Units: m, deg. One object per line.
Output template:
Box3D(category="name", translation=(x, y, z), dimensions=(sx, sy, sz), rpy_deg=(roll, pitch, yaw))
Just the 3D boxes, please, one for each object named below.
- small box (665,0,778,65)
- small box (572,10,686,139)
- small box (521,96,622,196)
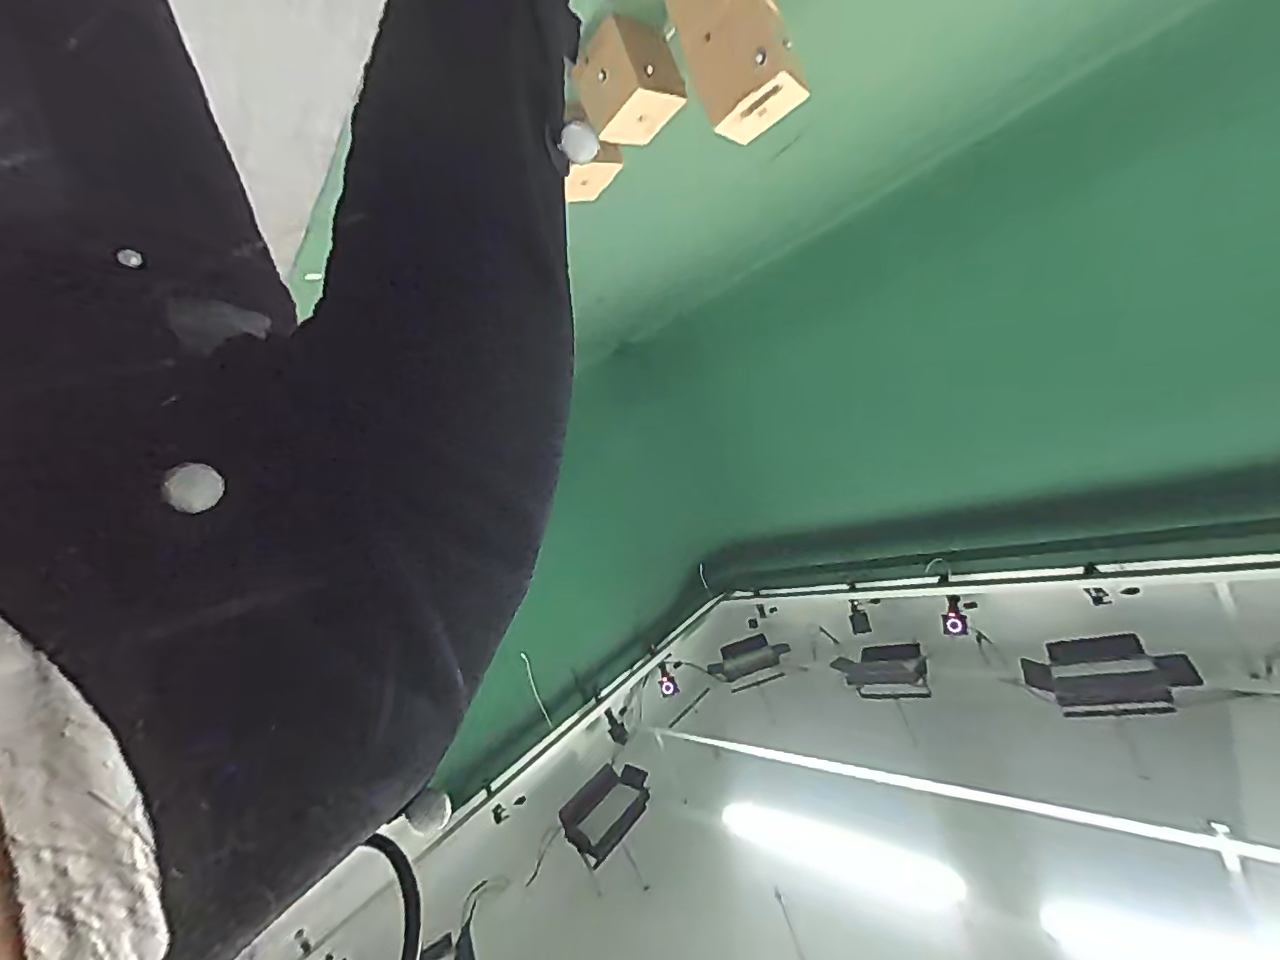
Box3D(category="small box", translation=(0.150, -0.997, 1.083), dimensions=(0.168, 0.176, 0.179), rpy_deg=(-20, -176, 36))
Box3D(category="small box", translation=(-0.030, -0.936, 1.257), dimensions=(0.179, 0.176, 0.168), rpy_deg=(-28, -173, -41))
Box3D(category="small box", translation=(-0.185, -0.889, 1.446), dimensions=(0.179, 0.176, 0.168), rpy_deg=(-26, -175, -38))
